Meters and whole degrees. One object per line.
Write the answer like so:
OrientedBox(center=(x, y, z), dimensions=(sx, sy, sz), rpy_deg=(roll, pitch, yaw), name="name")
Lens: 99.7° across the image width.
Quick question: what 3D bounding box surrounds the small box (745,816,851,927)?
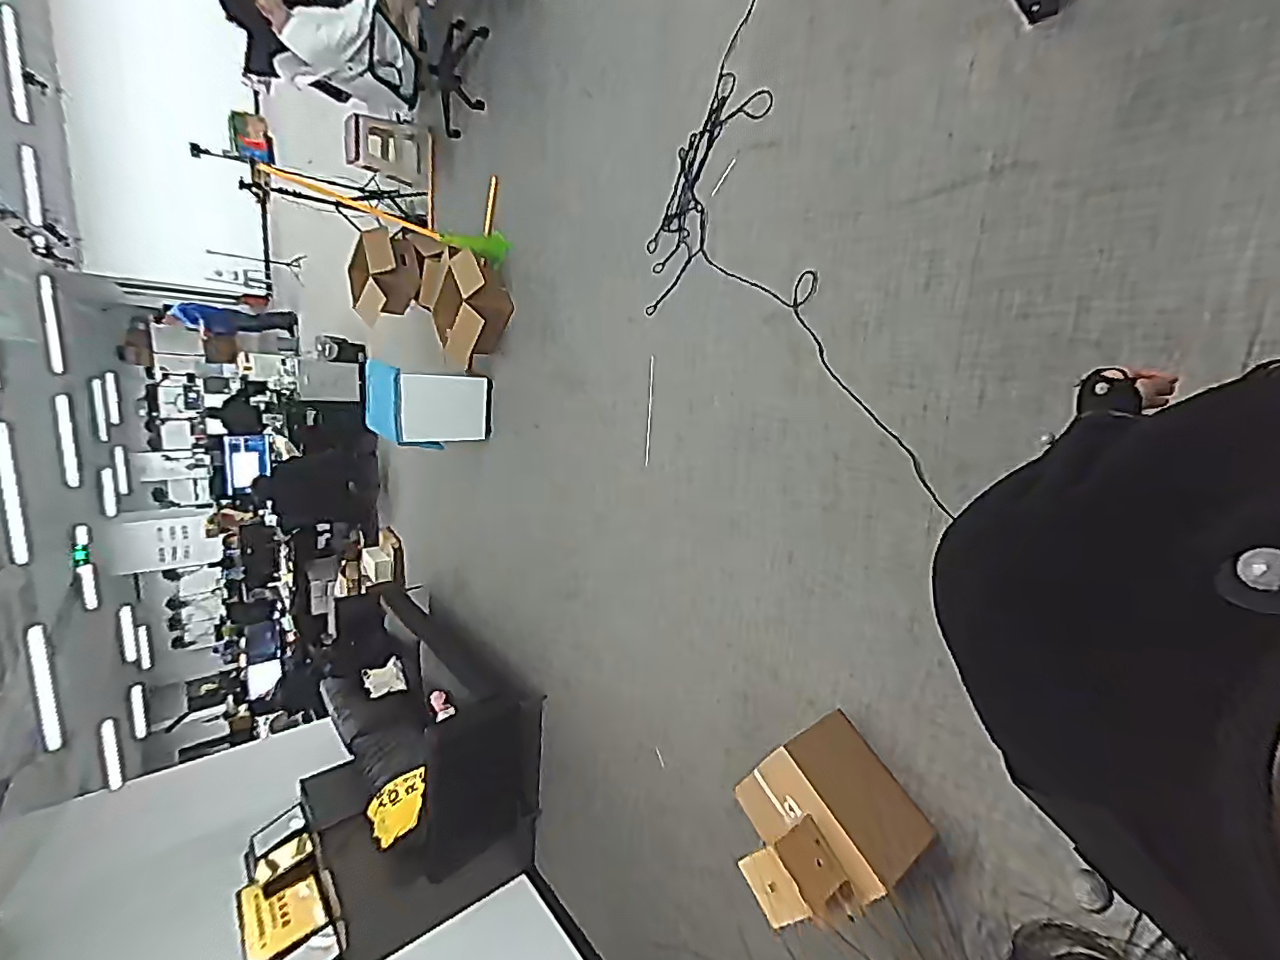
OrientedBox(center=(0.424, 1.043, 1.447), dimensions=(0.168, 0.176, 0.179), rpy_deg=(56, 134, 31), name="small box")
